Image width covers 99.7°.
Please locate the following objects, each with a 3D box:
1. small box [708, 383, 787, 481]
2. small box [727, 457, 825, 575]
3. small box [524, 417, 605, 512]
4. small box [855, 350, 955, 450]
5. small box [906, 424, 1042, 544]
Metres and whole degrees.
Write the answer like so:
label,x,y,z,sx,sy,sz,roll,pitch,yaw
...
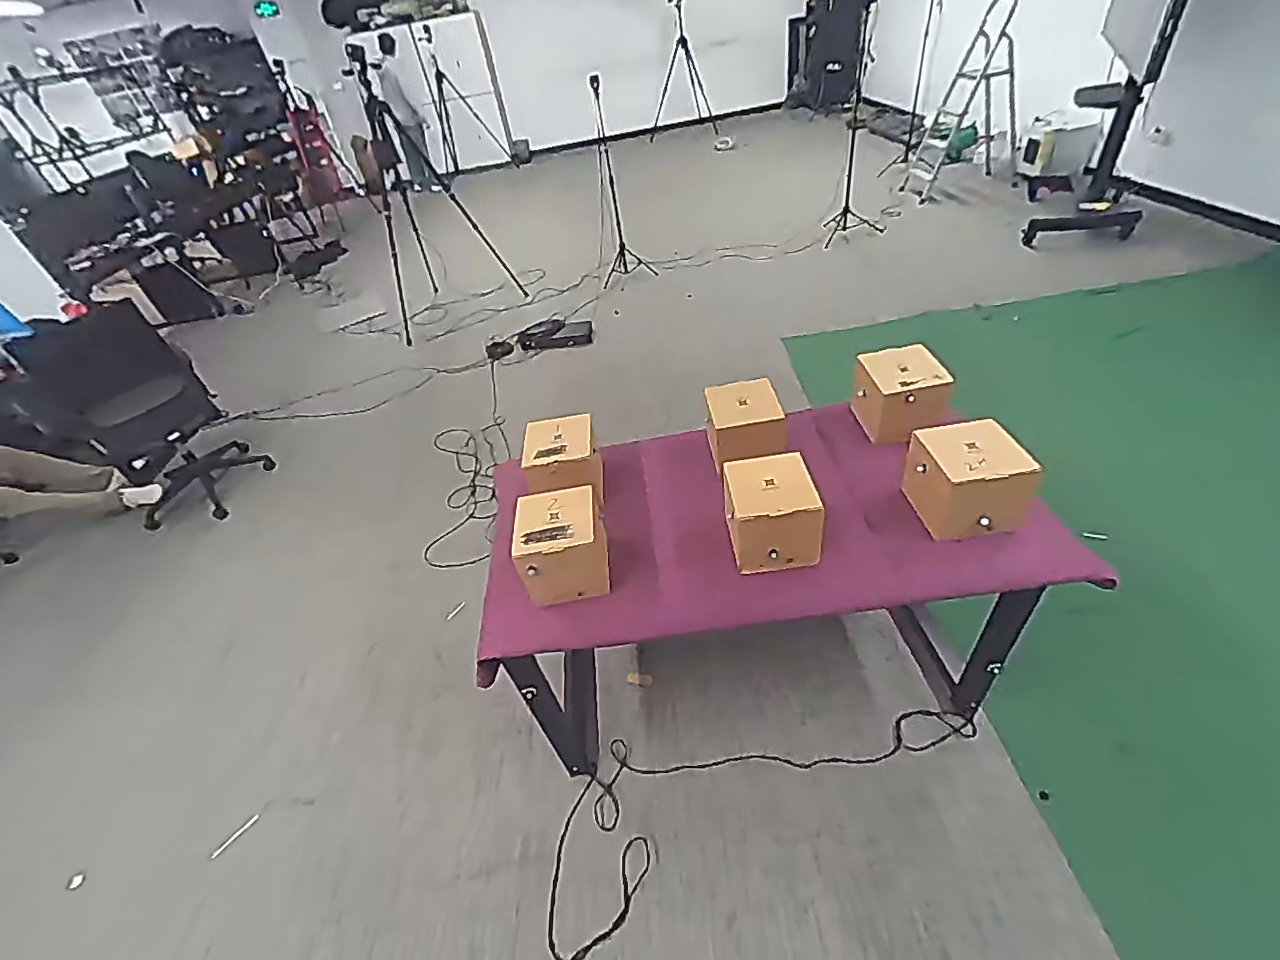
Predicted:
label,x,y,z,sx,sy,sz,roll,pitch,yaw
small box,0.267,-0.121,1.369,0.168,0.176,0.179,-9,43,4
small box,0.279,0.077,1.143,0.168,0.176,0.179,-8,40,3
small box,-0.183,-0.033,1.366,0.168,0.176,0.179,-8,42,3
small box,0.657,-0.202,1.365,0.168,0.176,0.179,-11,42,4
small box,0.677,0.009,1.123,0.168,0.176,0.179,-9,40,5
